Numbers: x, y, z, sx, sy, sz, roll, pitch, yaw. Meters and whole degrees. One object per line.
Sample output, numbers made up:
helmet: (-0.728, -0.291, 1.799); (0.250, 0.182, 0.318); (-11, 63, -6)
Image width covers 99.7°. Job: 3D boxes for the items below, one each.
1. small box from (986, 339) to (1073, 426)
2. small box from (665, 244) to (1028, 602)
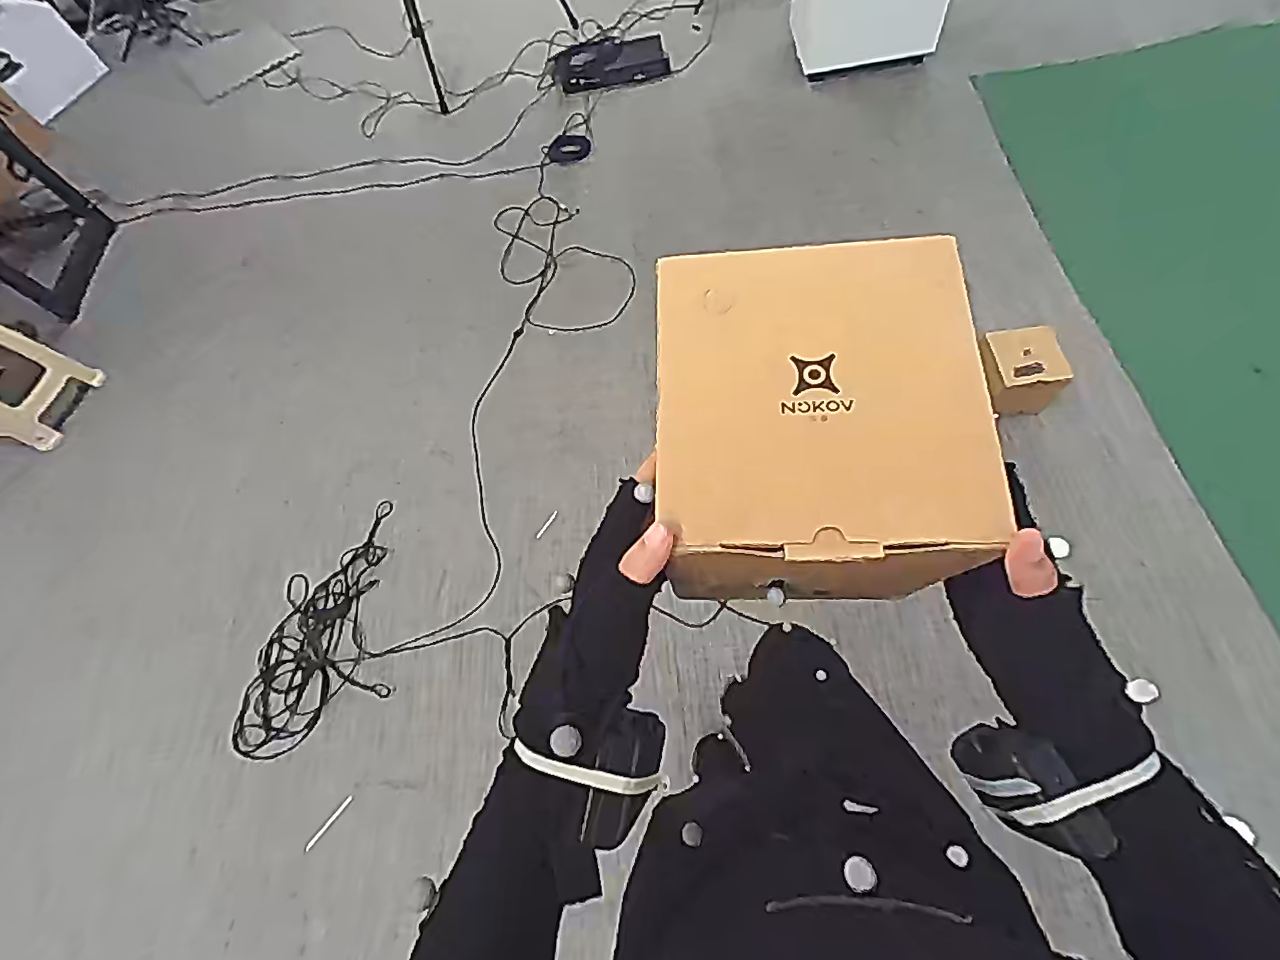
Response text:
small box: (1.018, -0.256, 1.474); (0.168, 0.176, 0.179); (-5, 63, 6)
small box: (0.104, -0.021, 0.354); (0.168, 0.176, 0.179); (-1, 70, 7)
